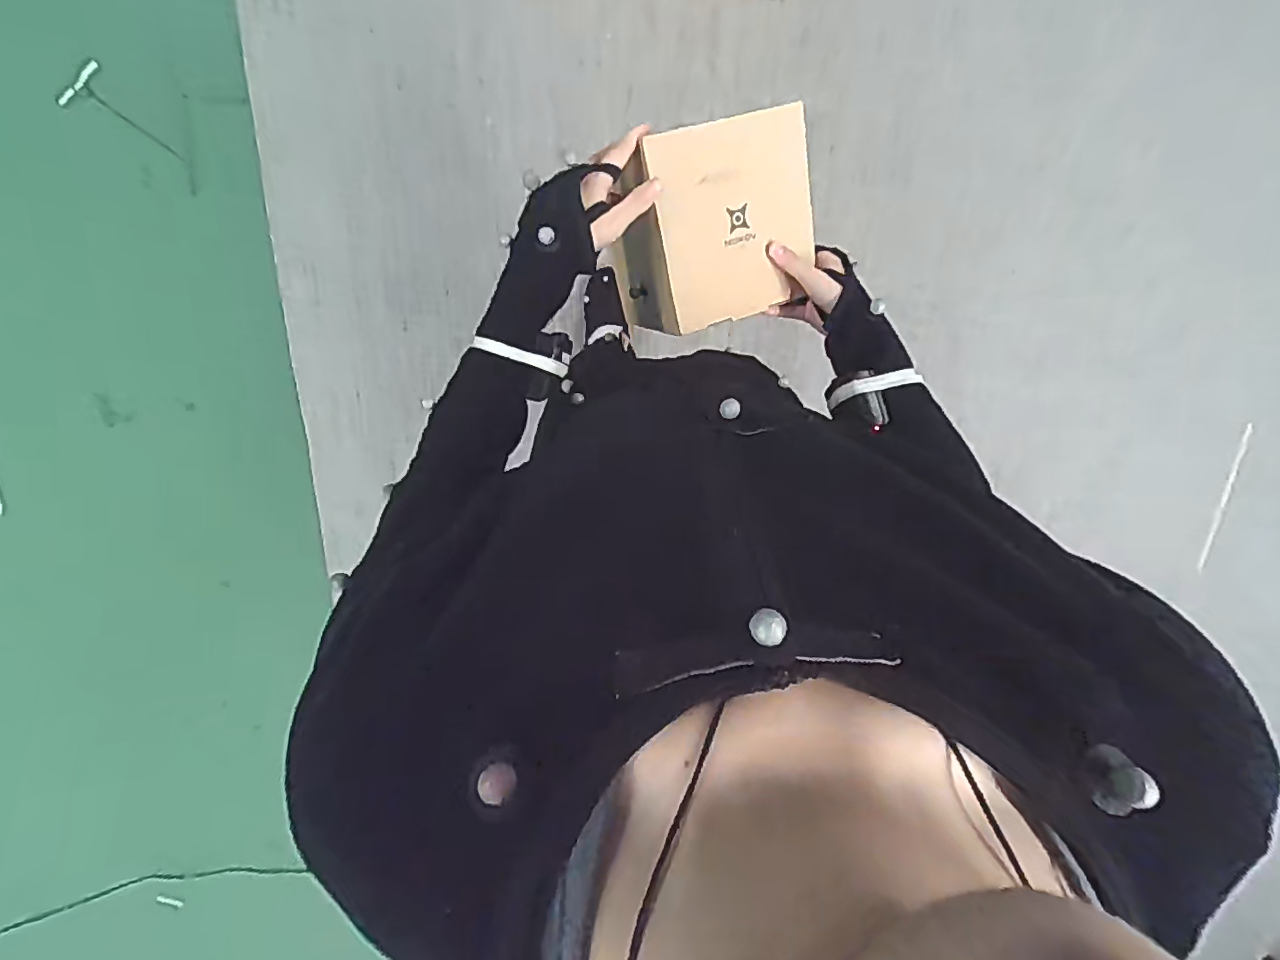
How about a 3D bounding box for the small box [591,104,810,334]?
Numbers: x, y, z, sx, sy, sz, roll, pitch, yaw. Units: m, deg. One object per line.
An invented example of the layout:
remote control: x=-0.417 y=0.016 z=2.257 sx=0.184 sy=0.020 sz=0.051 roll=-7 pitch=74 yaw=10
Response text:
small box: x=0.060 y=-0.272 z=0.583 sx=0.168 sy=0.176 sz=0.179 roll=-19 pitch=116 yaw=-13
